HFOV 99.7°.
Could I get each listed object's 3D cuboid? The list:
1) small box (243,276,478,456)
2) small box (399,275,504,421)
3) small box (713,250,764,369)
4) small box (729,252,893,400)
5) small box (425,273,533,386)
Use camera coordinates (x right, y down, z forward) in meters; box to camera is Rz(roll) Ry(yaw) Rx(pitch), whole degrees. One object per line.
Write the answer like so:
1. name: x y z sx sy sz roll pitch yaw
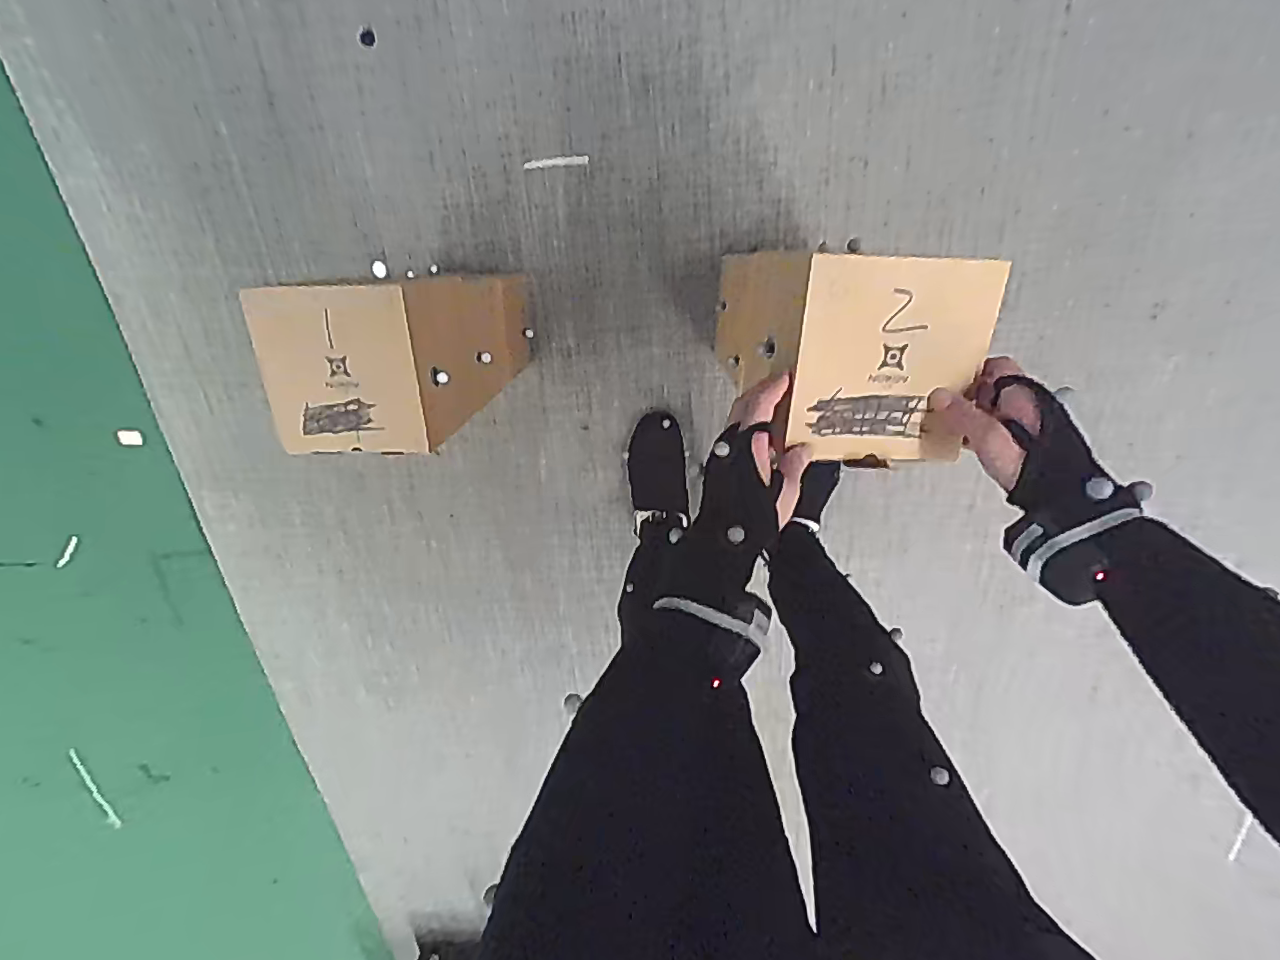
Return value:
1. small box: -0.299 -0.139 0.626 0.168 0.176 0.179 0 113 2
2. small box: -0.303 -0.195 0.780 0.168 0.176 0.179 1 114 2
3. small box: 0.218 -0.278 0.899 0.168 0.176 0.179 8 114 1
4. small box: 0.220 -0.218 0.750 0.168 0.176 0.179 2 114 1
5. small box: -0.292 -0.263 0.929 0.179 0.176 0.168 2 114 1
